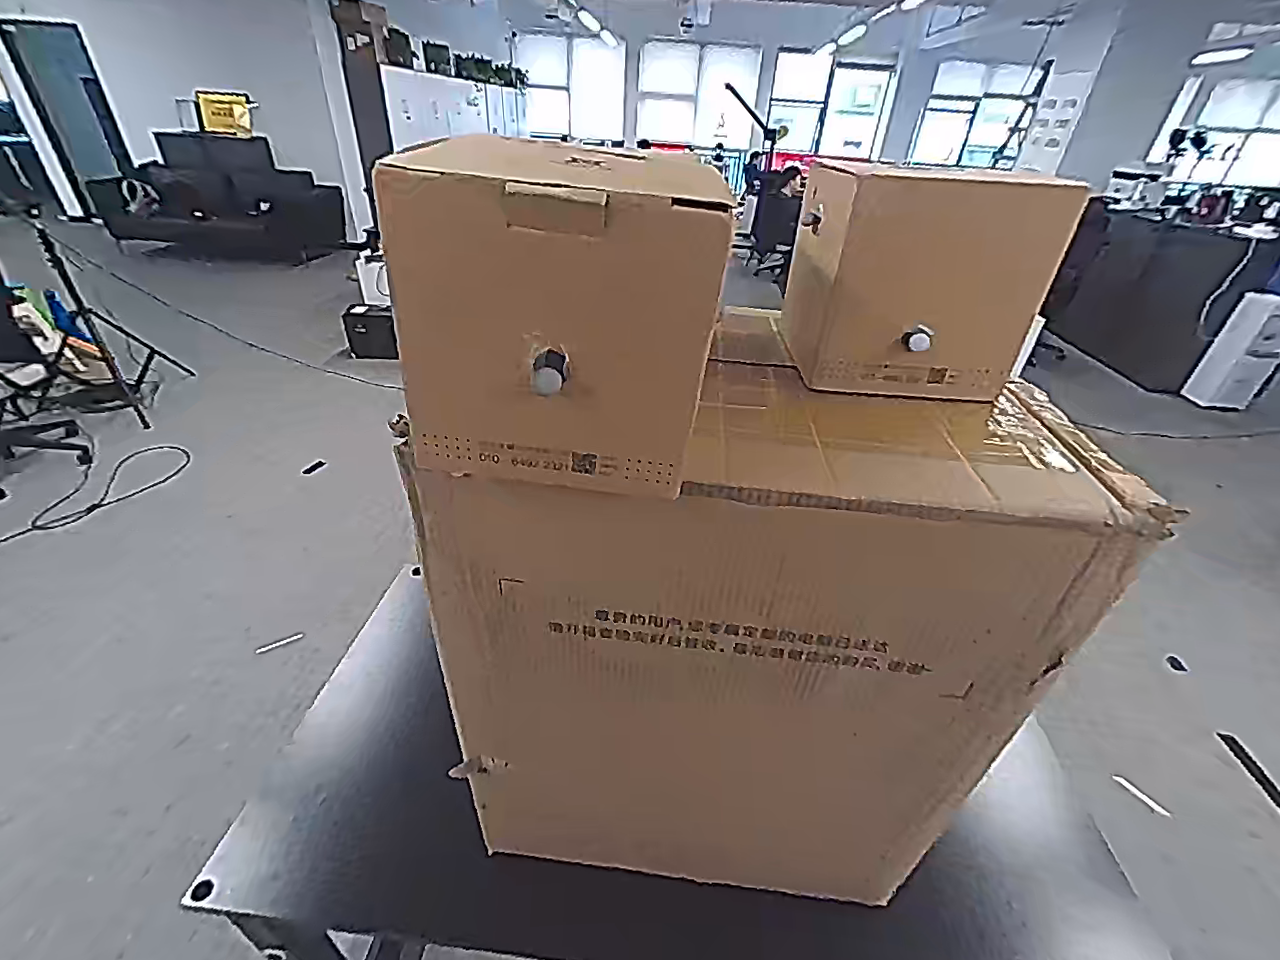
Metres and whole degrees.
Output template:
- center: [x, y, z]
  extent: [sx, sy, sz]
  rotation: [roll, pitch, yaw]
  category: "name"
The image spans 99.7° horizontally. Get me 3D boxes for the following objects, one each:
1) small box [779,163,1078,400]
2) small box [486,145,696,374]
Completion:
- center: [0.234, -0.189, 0.500]
  extent: [0.168, 0.176, 0.179]
  rotation: [3, 33, 2]
  category: "small box"
- center: [-0.038, -0.217, 0.522]
  extent: [0.168, 0.176, 0.179]
  rotation: [5, 33, 2]
  category: "small box"
